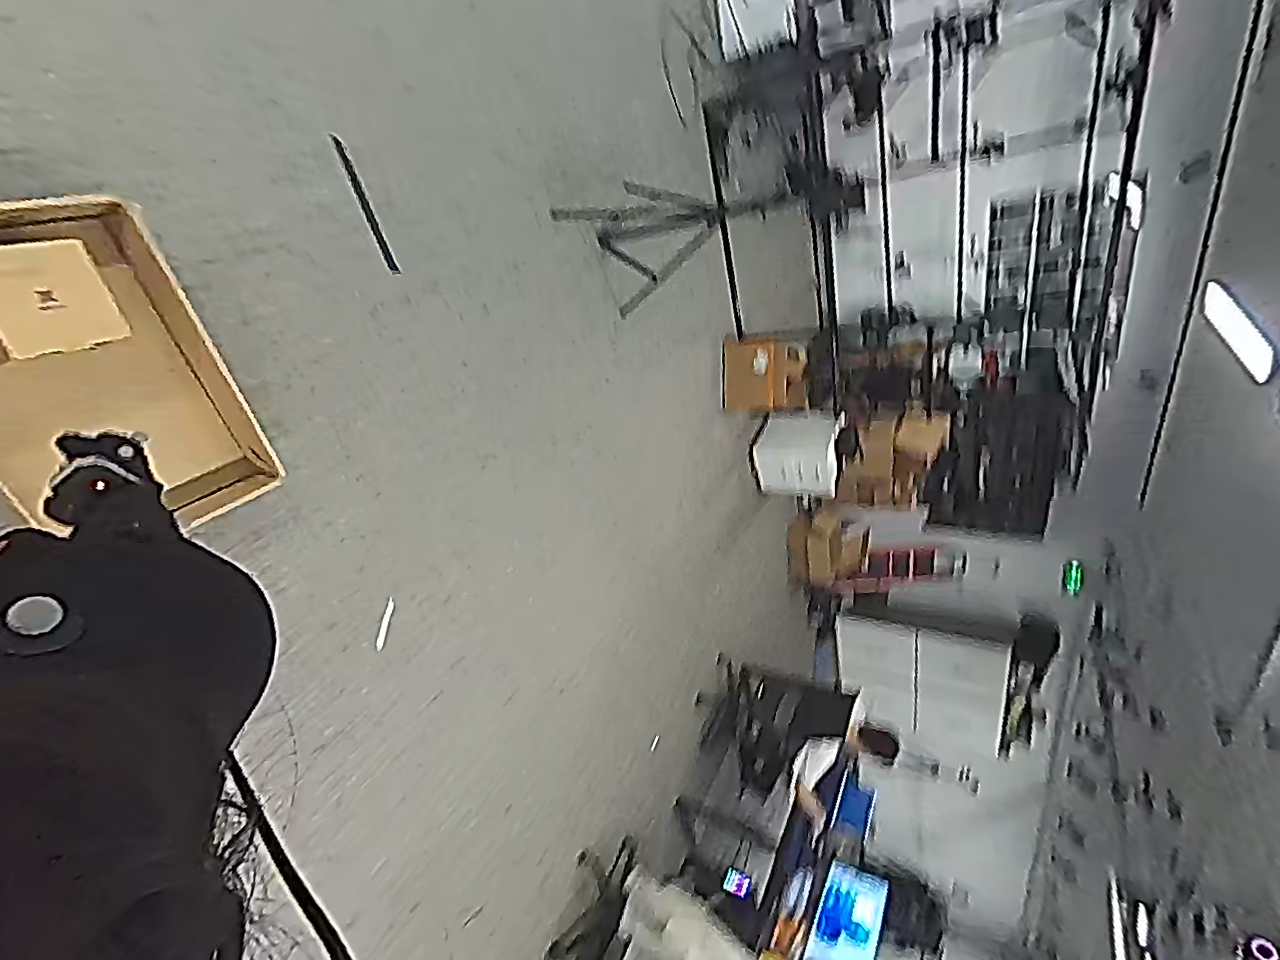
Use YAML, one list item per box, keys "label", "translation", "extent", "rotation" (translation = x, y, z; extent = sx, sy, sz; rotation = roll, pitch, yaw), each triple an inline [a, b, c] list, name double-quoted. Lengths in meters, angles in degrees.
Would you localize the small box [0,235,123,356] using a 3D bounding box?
- label: "small box"
  translation: [-1.081, -0.322, 0.955]
  extent: [0.168, 0.176, 0.179]
  rotation: [-40, 126, -49]
